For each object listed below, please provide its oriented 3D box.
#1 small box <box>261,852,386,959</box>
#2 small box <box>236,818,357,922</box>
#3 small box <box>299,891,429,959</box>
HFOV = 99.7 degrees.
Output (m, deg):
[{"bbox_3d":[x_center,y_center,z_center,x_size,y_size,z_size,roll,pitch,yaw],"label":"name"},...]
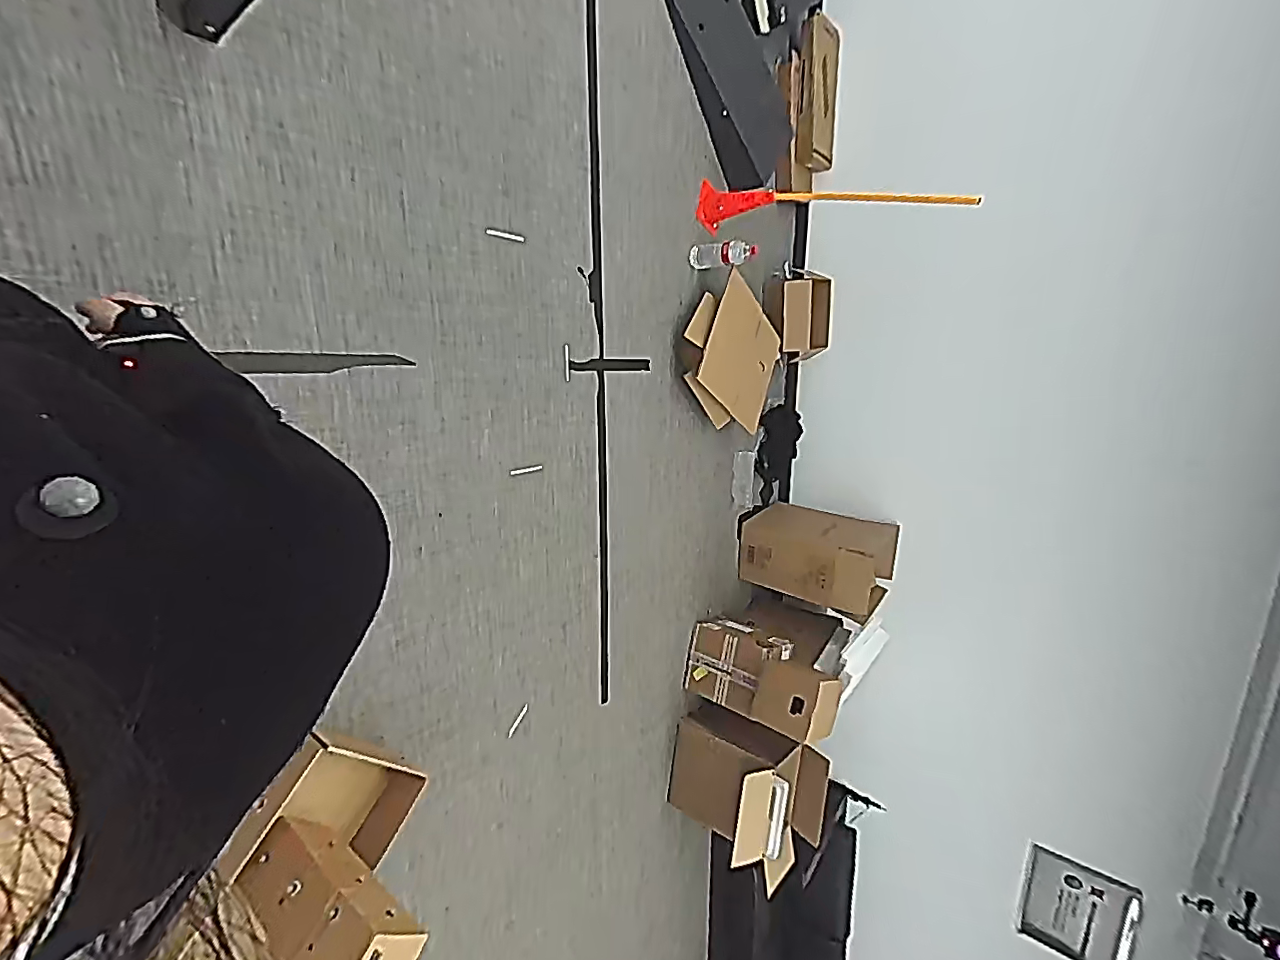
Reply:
[{"bbox_3d":[-0.765,1.045,1.318,0.168,0.176,0.179,-61,139,-26],"label":"small box"},{"bbox_3d":[-0.895,1.020,1.412,0.168,0.176,0.179,-59,139,-27],"label":"small box"},{"bbox_3d":[-0.631,1.070,1.226,0.168,0.176,0.179,-61,141,-25],"label":"small box"}]
